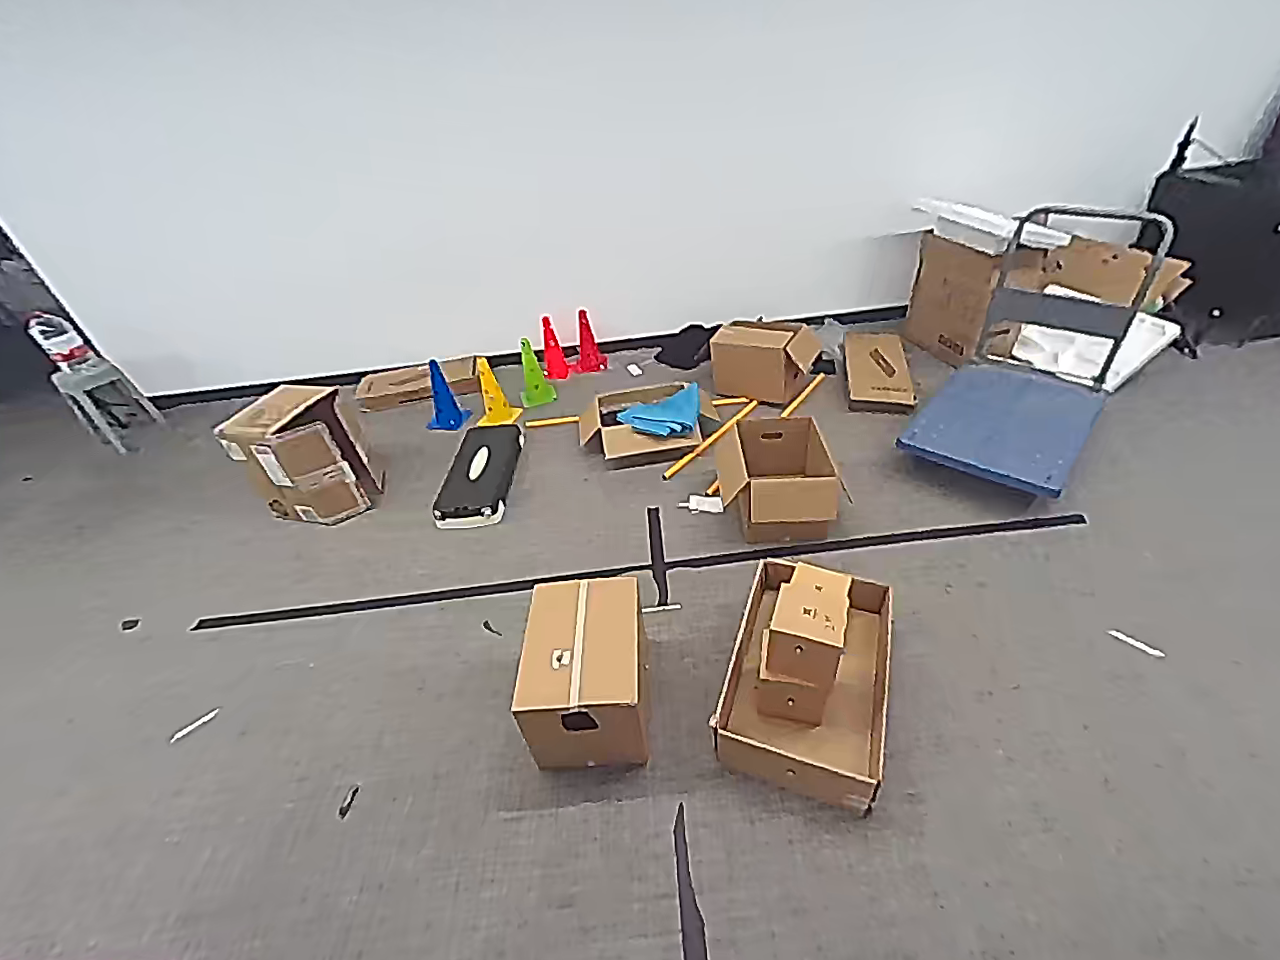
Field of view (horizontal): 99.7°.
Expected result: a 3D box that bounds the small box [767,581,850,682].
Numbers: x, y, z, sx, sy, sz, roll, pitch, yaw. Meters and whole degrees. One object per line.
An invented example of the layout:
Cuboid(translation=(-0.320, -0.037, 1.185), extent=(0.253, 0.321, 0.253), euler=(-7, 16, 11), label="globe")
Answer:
Cuboid(translation=(0.434, 0.394, 1.403), extent=(0.179, 0.176, 0.168), euler=(11, 39, 20), label="small box")

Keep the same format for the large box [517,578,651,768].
Cuboid(translation=(-0.138, 0.541, 1.540), extent=(0.320, 0.320, 0.408), euler=(-6, 39, 3), label="large box")
